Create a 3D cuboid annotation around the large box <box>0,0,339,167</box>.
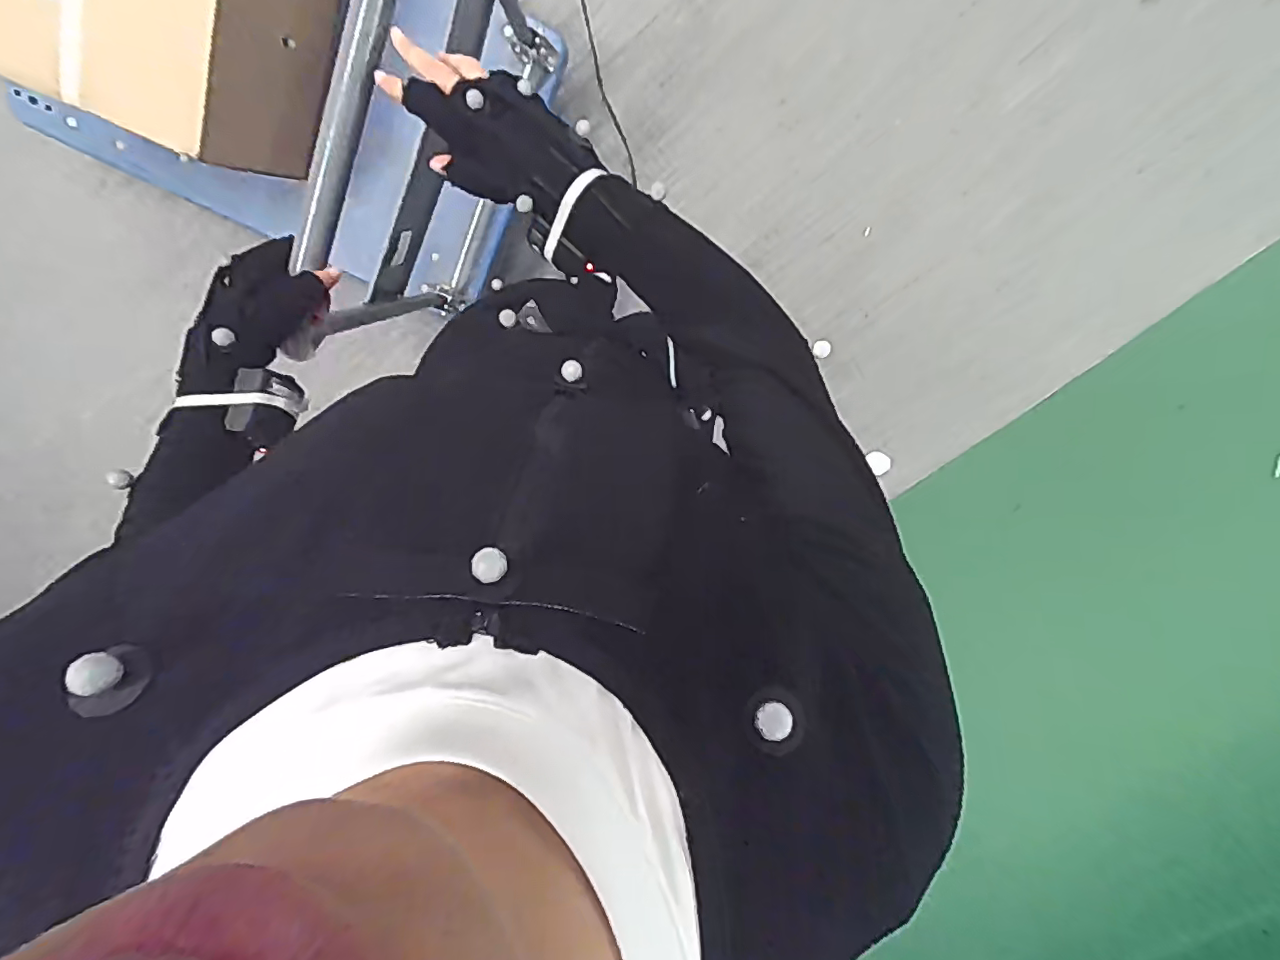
[{"bbox_3d":[-0.688,-0.759,0.811,0.320,0.320,0.408,21,113,-12],"label":"large box"}]
